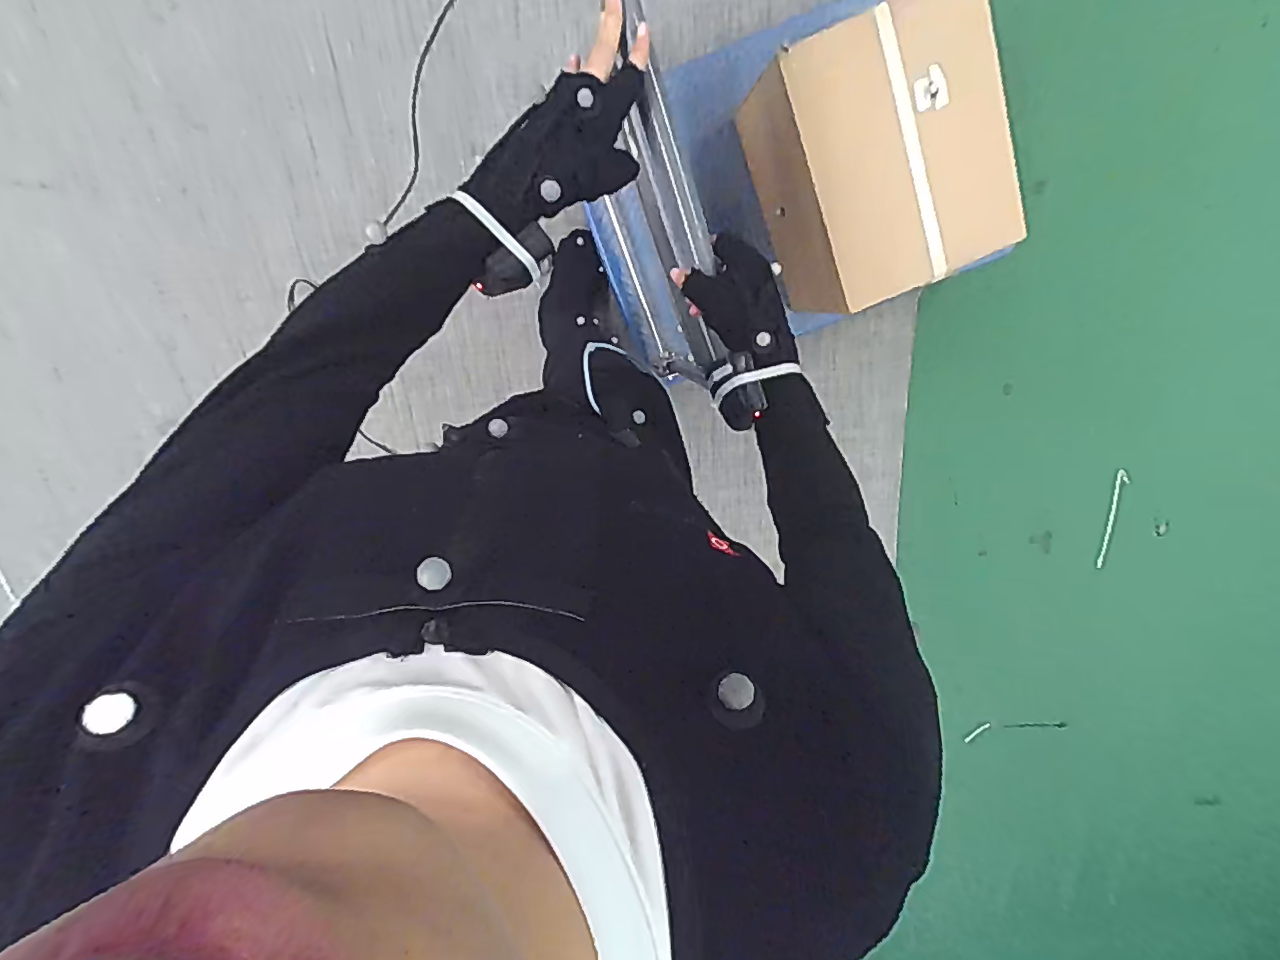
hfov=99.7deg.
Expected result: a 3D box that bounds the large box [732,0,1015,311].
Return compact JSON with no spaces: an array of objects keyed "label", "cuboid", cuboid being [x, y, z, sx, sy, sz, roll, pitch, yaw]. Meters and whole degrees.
[{"label":"large box","cuboid":[0.404,-0.564,0.997,0.320,0.320,0.408,-23,107,3]}]
